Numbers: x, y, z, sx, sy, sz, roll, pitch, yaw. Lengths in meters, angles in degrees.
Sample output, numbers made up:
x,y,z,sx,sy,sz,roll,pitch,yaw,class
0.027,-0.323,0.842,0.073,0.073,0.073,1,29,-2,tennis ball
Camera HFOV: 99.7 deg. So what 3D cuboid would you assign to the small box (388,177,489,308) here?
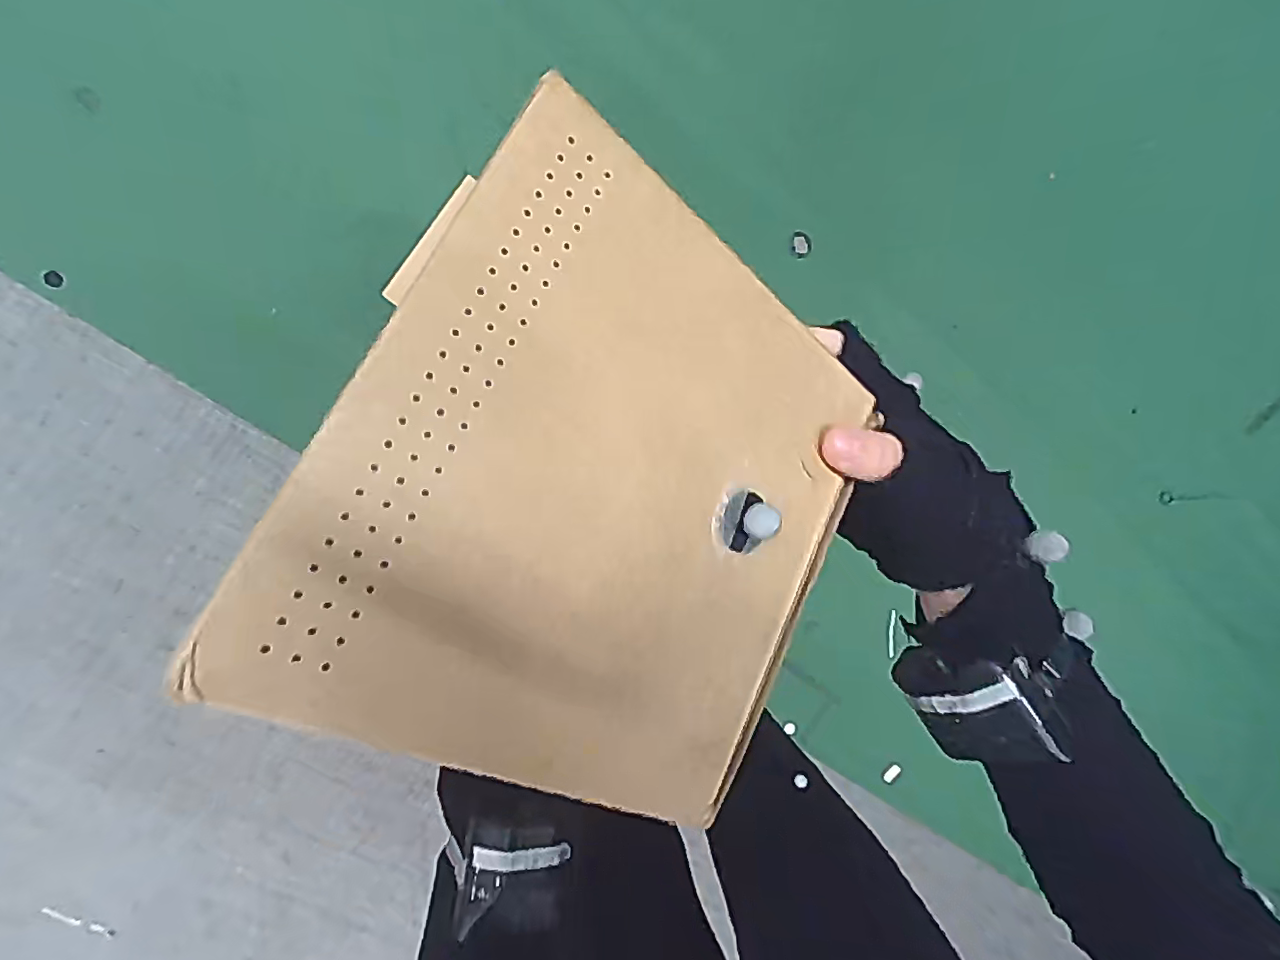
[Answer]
x,y,z,sx,sy,sz,roll,pitch,yaw,class
-0.180,-0.237,0.695,0.179,0.176,0.168,37,94,-15,small box
